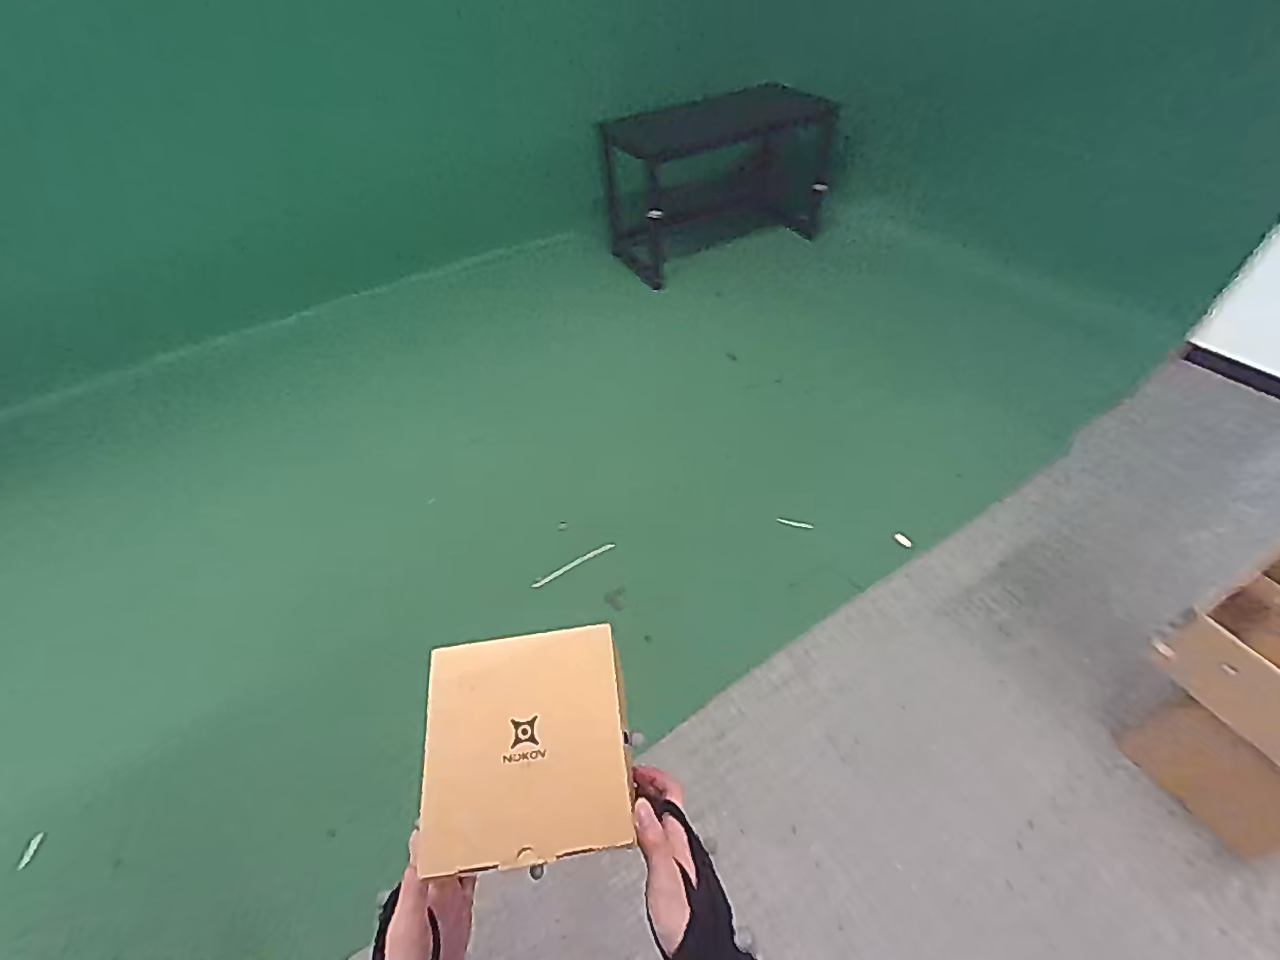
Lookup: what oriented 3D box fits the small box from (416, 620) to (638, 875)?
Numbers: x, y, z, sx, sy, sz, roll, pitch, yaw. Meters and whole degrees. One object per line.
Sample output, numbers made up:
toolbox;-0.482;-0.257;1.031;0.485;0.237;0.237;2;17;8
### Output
small box;-0.093;0.252;0.511;0.168;0.176;0.179;-7;58;-3
